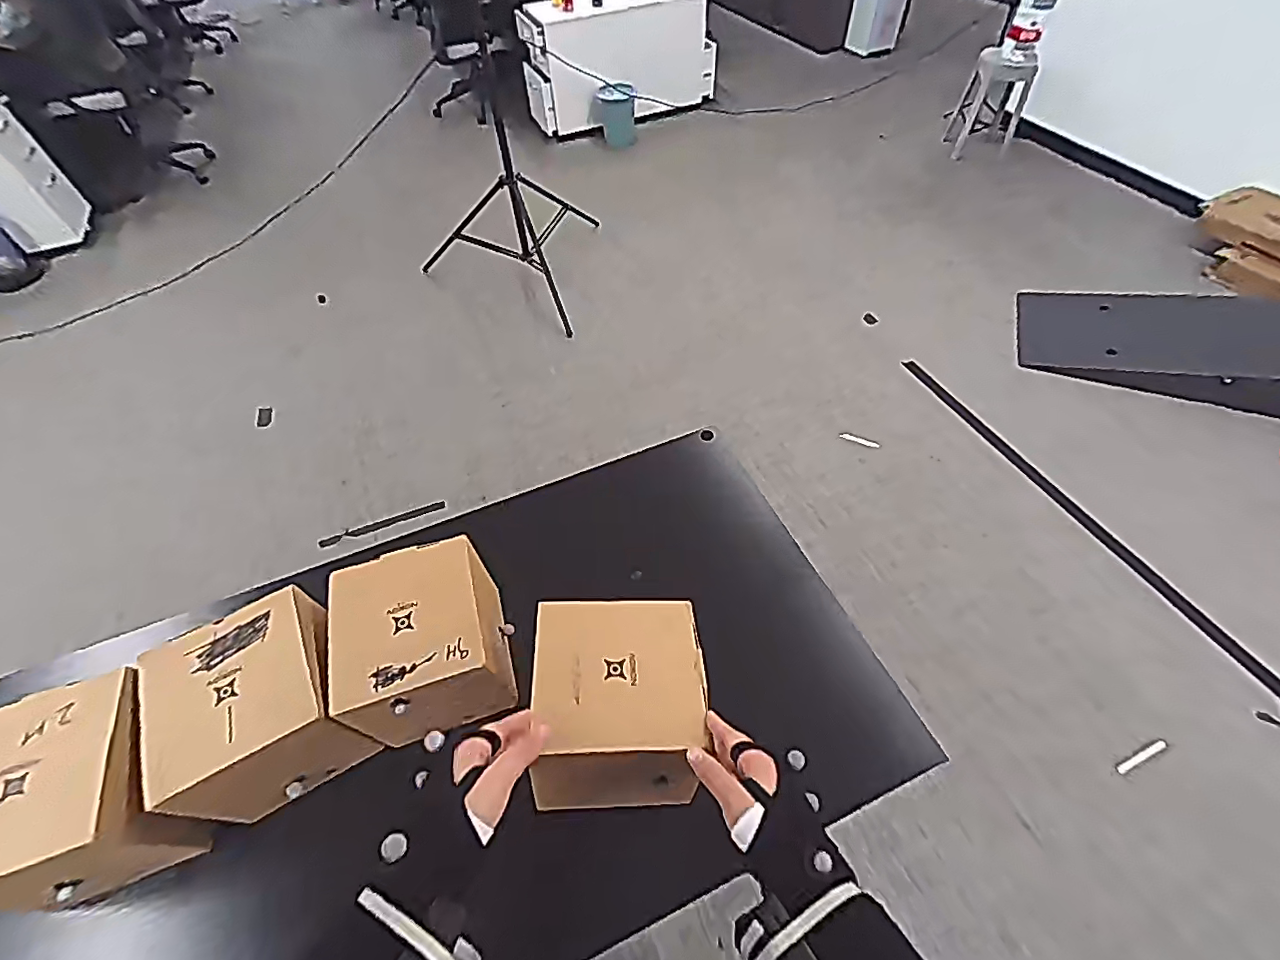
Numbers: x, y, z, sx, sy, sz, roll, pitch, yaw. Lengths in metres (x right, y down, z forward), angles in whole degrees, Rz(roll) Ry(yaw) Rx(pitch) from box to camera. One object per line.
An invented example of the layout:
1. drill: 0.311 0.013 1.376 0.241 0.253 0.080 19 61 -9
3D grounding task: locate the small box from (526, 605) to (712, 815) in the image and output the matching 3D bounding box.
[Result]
1. small box: -0.028 0.258 0.609 0.179 0.176 0.168 -1 43 -5

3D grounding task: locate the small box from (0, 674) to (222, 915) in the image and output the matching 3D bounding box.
1. small box: -0.603 0.348 0.596 0.168 0.176 0.179 -18 54 -12
